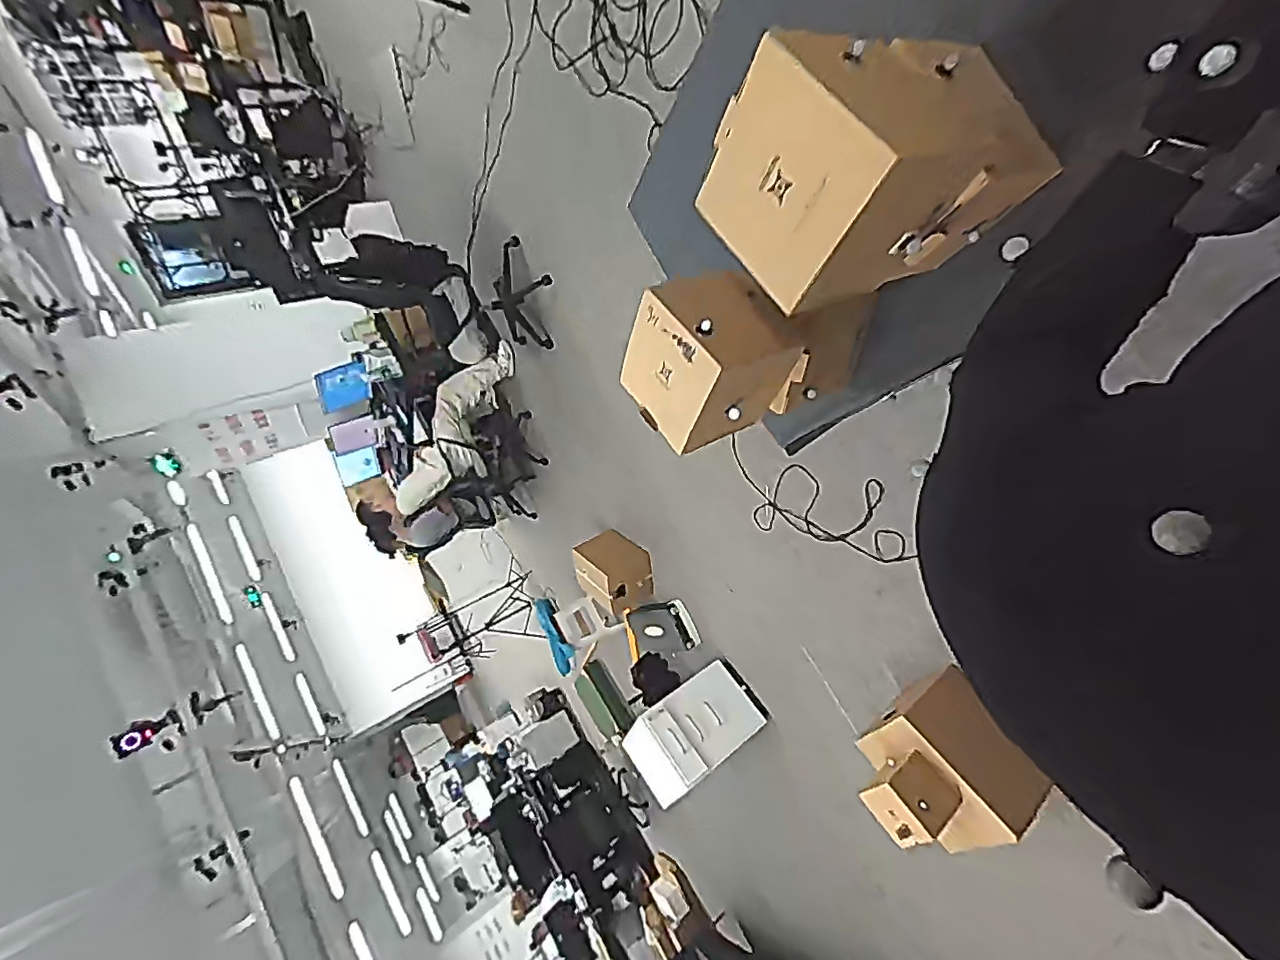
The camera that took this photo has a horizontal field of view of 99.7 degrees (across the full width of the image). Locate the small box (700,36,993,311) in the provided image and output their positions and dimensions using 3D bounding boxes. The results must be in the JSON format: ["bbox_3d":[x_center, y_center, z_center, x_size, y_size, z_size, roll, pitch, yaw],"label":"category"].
[{"bbox_3d":[0.197,-0.303,0.545,0.179,0.176,0.168,56,150,17],"label":"small box"}]

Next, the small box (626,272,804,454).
[{"bbox_3d":[0.105,-0.171,0.786,0.168,0.176,0.179,53,149,22],"label":"small box"}]

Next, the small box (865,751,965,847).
[{"bbox_3d":[0.830,0.960,1.631,0.179,0.176,0.168,50,145,26],"label":"small box"}]

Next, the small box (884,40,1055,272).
[{"bbox_3d":[0.324,-0.359,0.628,0.179,0.176,0.168,62,151,8],"label":"small box"}]
